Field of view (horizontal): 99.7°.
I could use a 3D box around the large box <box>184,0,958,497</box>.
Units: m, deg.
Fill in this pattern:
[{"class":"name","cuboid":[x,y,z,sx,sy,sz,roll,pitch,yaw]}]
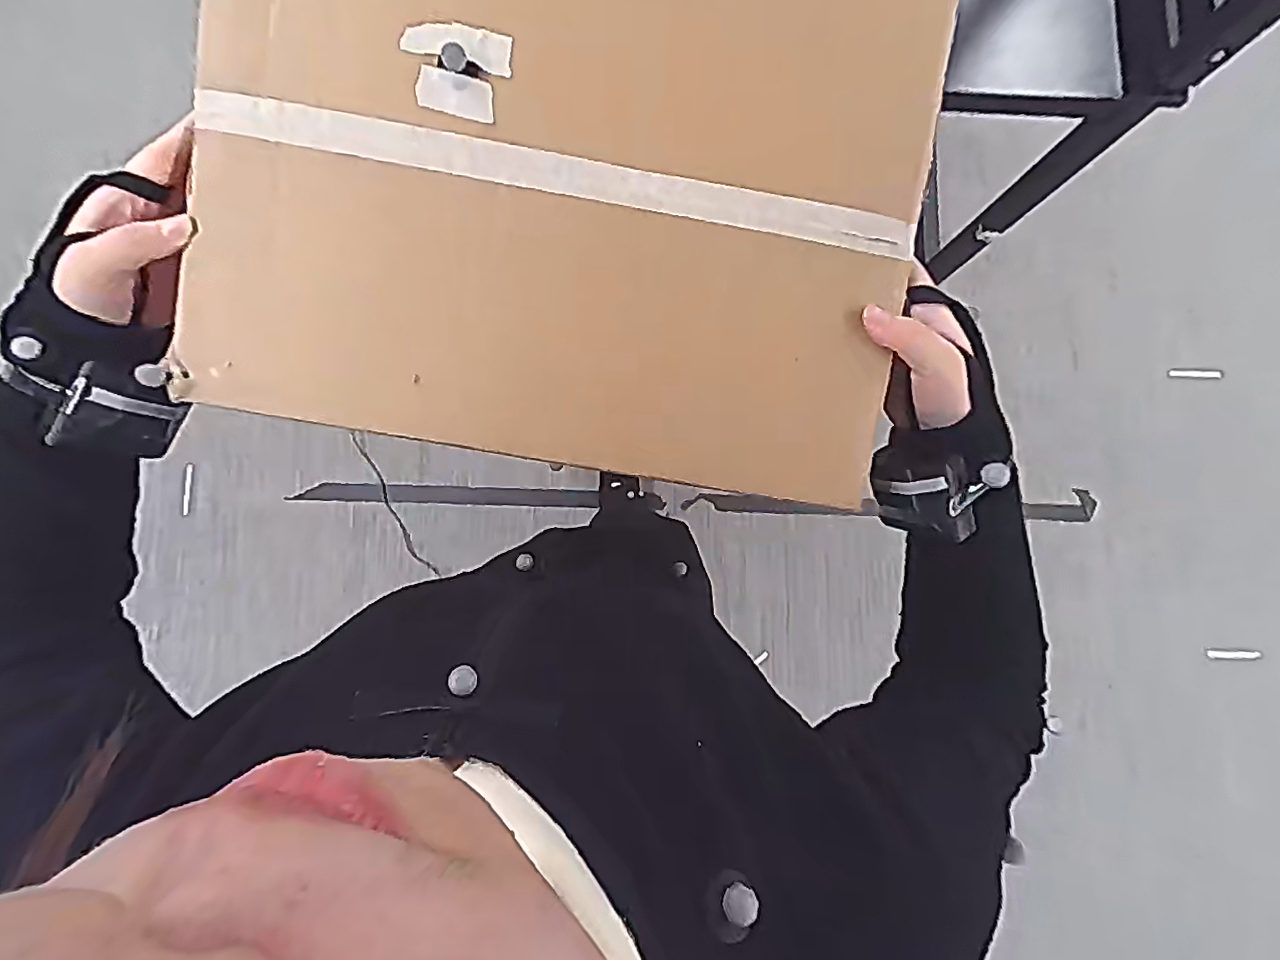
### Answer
[{"class":"large box","cuboid":[-0.042,-0.180,0.448,0.408,0.320,0.320,9,93,-2]}]
